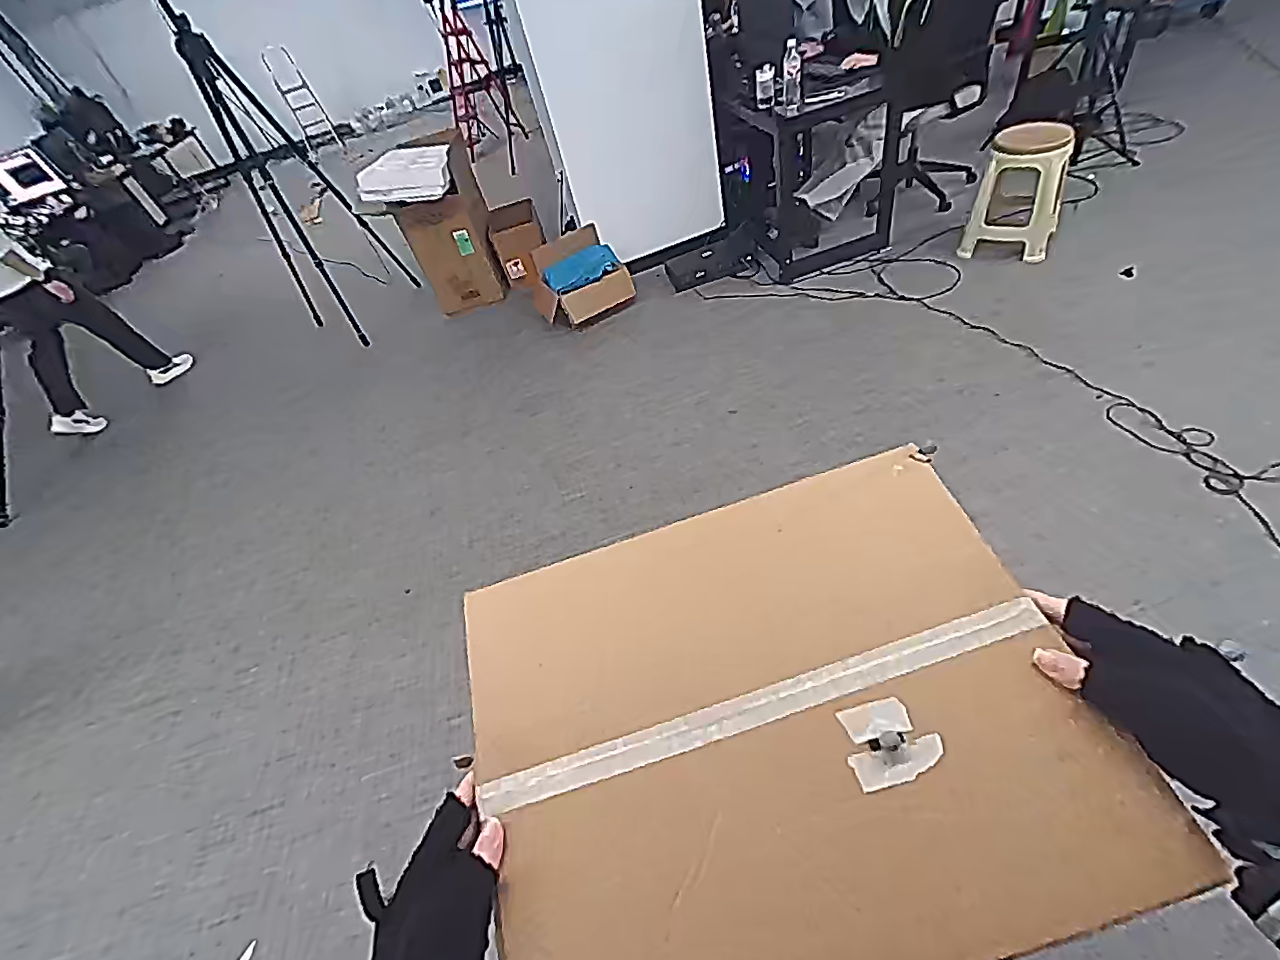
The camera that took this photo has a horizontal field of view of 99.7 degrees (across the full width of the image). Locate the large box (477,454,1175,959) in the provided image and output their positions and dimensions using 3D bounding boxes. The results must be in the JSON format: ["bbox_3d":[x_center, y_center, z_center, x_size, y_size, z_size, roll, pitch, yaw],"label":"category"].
[{"bbox_3d":[0.109,0.239,0.515,0.408,0.320,0.320,-19,57,-1],"label":"large box"}]
